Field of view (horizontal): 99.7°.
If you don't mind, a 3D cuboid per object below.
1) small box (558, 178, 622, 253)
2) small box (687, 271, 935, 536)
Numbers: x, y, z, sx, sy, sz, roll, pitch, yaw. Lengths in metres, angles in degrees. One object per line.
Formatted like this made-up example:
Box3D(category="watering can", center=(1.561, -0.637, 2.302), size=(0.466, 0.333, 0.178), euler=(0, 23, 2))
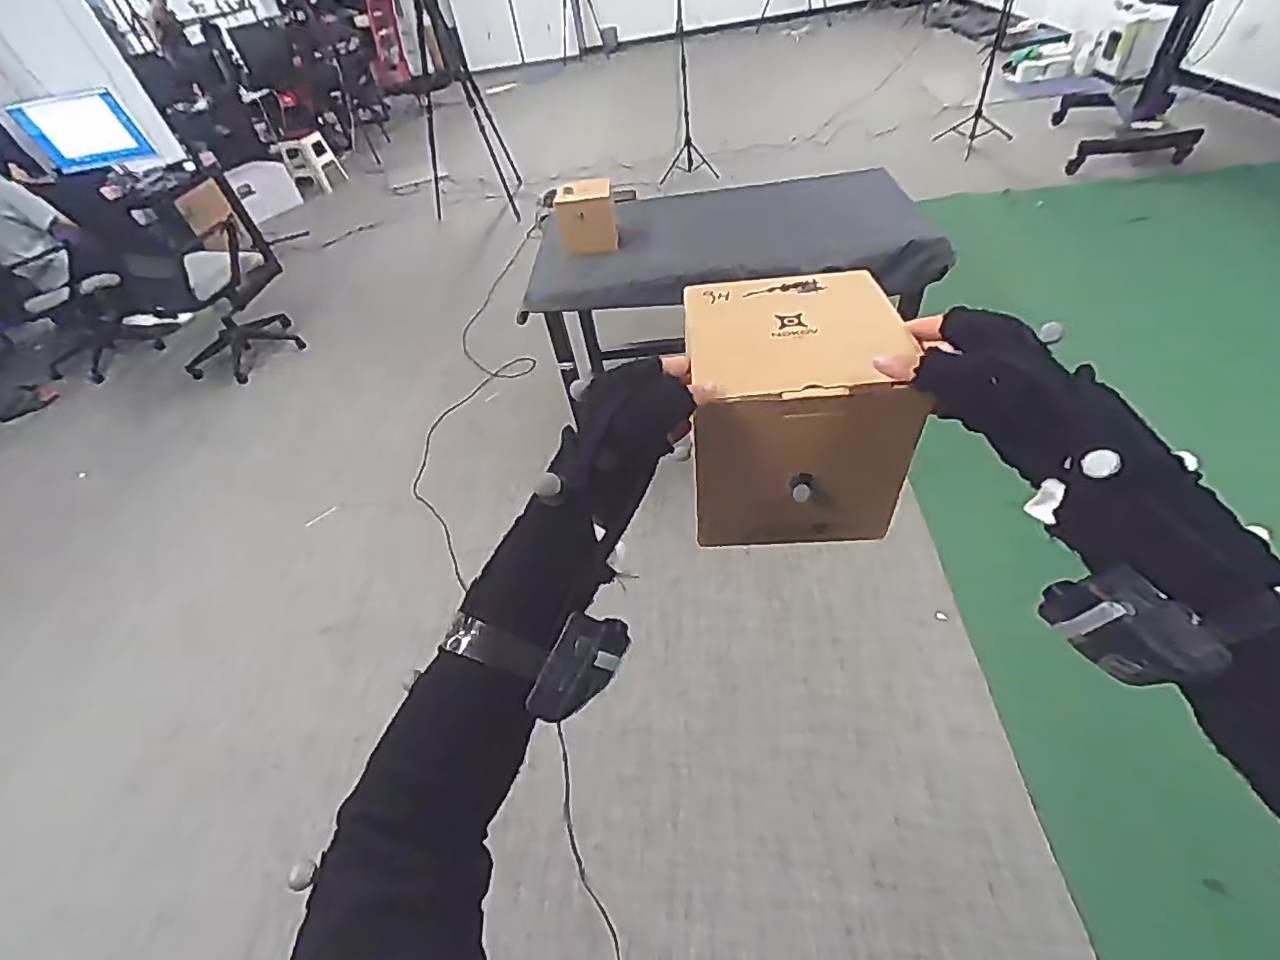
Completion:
Box3D(category="small box", center=(-0.157, -0.855, 1.757), size=(0.179, 0.176, 0.168), euler=(-5, 47, 4))
Box3D(category="small box", center=(0.130, -0.061, 0.483), size=(0.168, 0.176, 0.179), euler=(-3, 46, 5))
